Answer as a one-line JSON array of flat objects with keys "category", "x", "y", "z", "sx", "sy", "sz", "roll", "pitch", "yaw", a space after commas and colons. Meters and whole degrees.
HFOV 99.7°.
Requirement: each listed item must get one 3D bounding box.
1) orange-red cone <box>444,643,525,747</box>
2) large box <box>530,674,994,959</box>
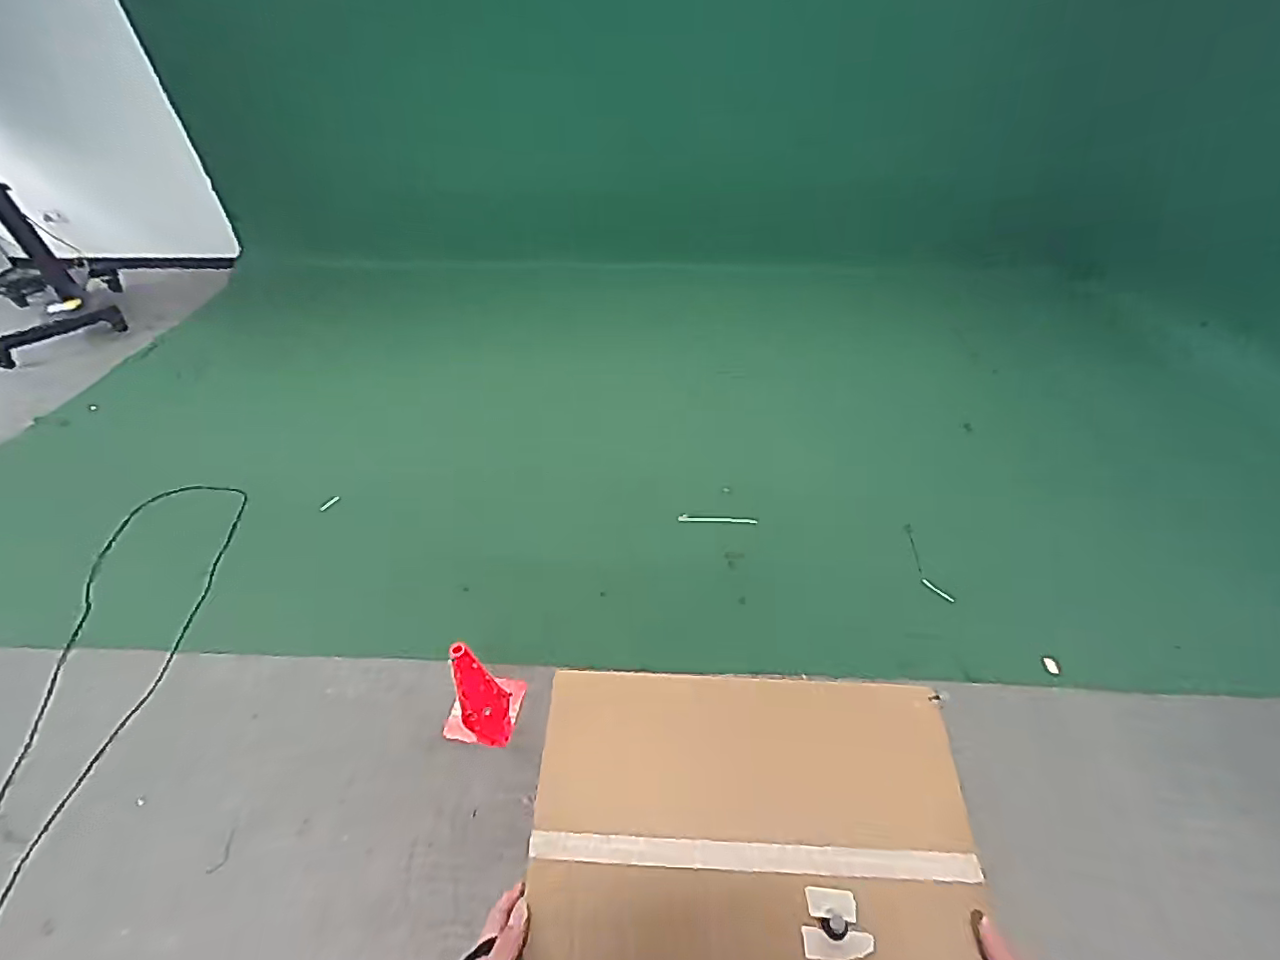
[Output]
[{"category": "orange-red cone", "x": -0.469, "y": 0.565, "z": 1.506, "sx": 0.199, "sy": 0.360, "sz": 0.198, "roll": 5, "pitch": 43, "yaw": 9}, {"category": "large box", "x": 0.106, "y": 0.427, "z": 0.627, "sx": 0.408, "sy": 0.320, "sz": 0.320, "roll": 1, "pitch": 57, "yaw": 2}]
